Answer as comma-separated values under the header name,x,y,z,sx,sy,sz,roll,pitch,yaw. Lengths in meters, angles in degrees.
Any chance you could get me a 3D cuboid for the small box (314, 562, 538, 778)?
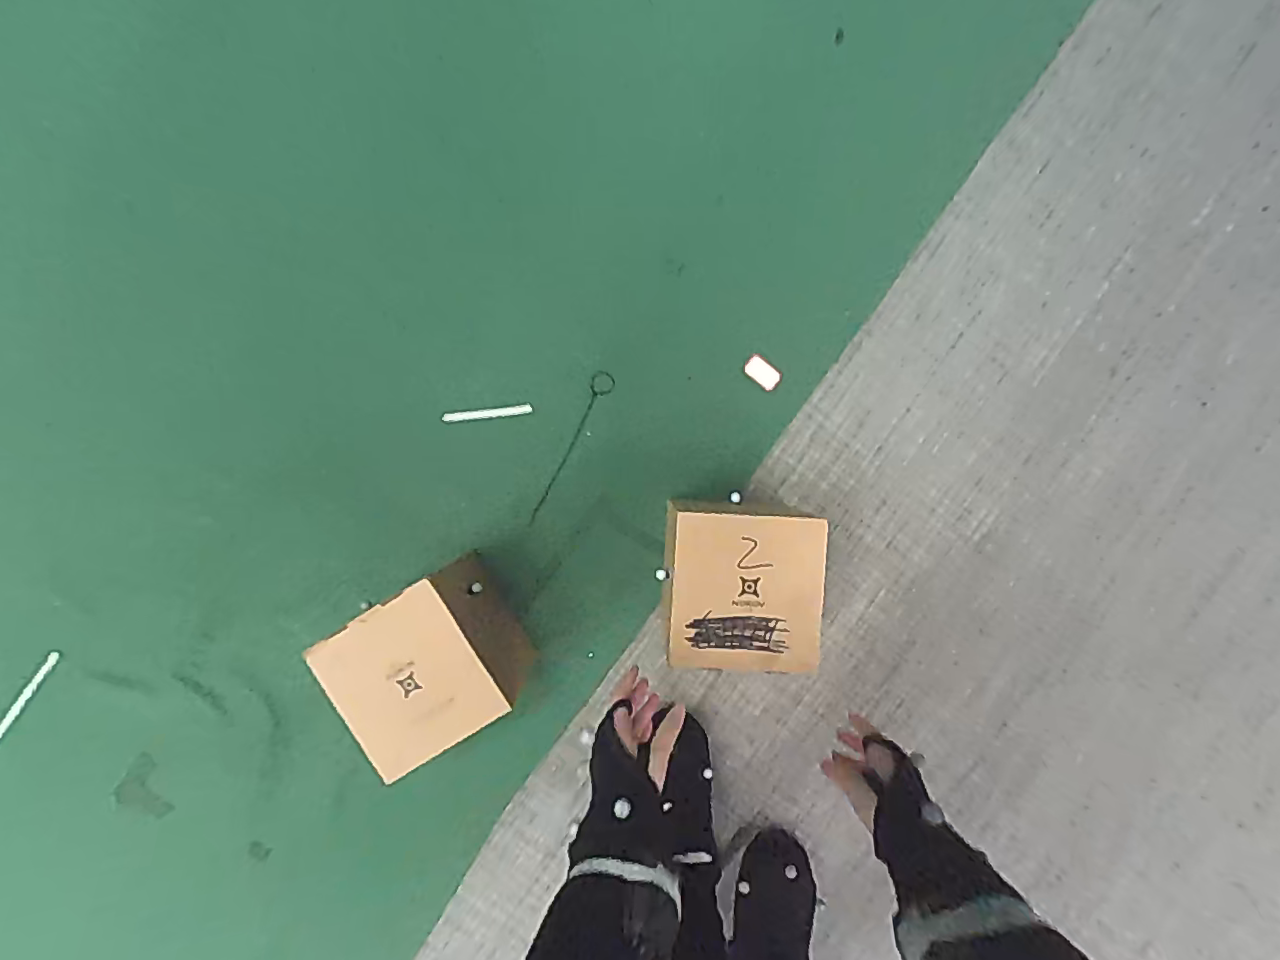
name,x,y,z,sx,sy,sz,roll,pitch,yaw
small box,-0.251,0.217,0.678,0.168,0.176,0.179,-31,92,1
